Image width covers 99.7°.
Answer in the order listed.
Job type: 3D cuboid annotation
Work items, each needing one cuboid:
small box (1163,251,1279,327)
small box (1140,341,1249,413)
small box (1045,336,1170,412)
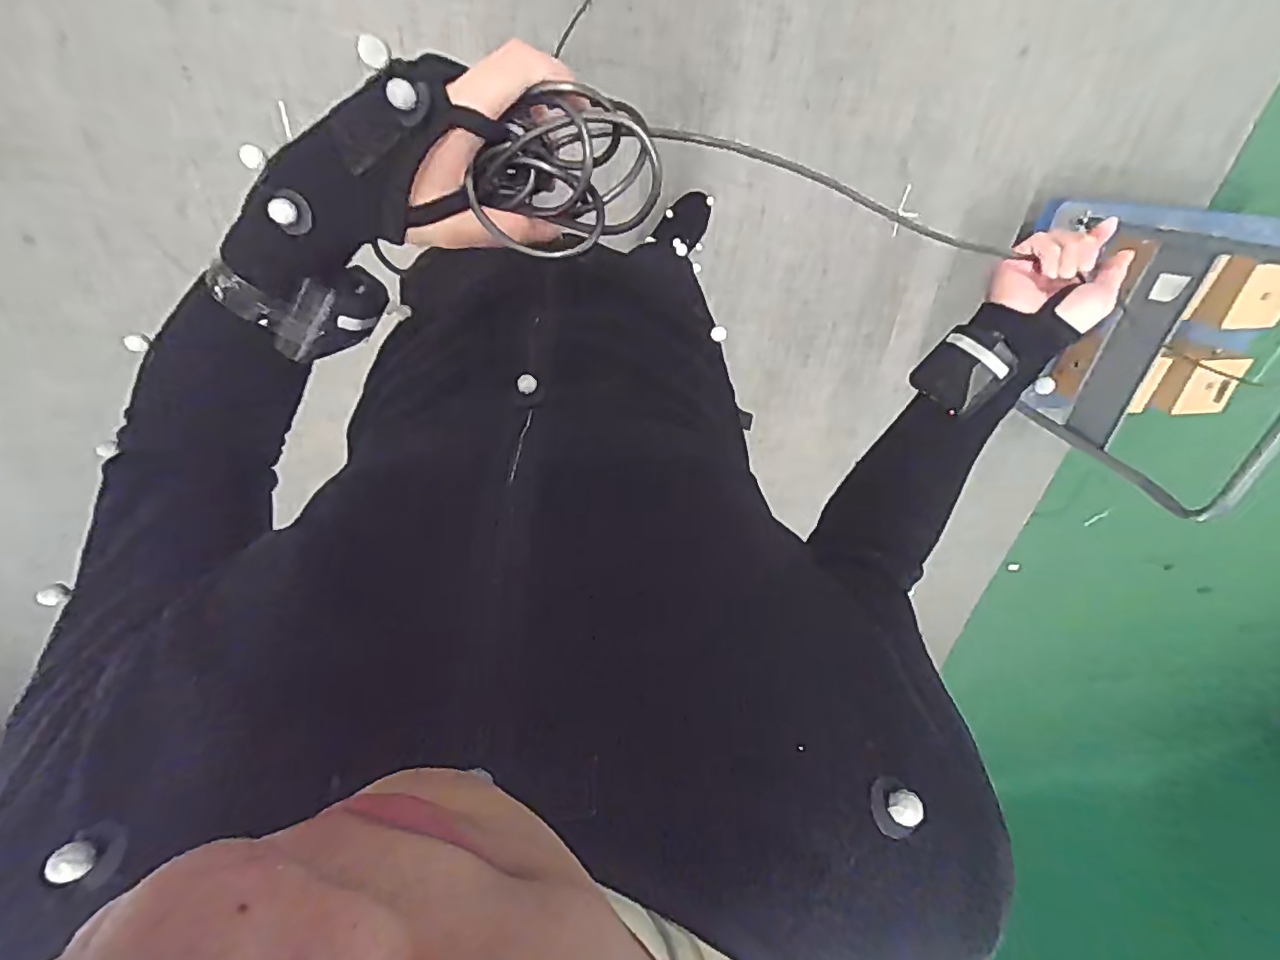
[{"bbox_3d":[1.609,-0.523,1.474,0.179,0.176,0.168,-3,123,-8],"label":"small box"},{"bbox_3d":[1.605,-0.310,1.609,0.179,0.176,0.168,-3,122,-7],"label":"small box"},{"bbox_3d":[1.339,-0.309,1.563,0.179,0.176,0.168,1,122,-10],"label":"small box"}]
